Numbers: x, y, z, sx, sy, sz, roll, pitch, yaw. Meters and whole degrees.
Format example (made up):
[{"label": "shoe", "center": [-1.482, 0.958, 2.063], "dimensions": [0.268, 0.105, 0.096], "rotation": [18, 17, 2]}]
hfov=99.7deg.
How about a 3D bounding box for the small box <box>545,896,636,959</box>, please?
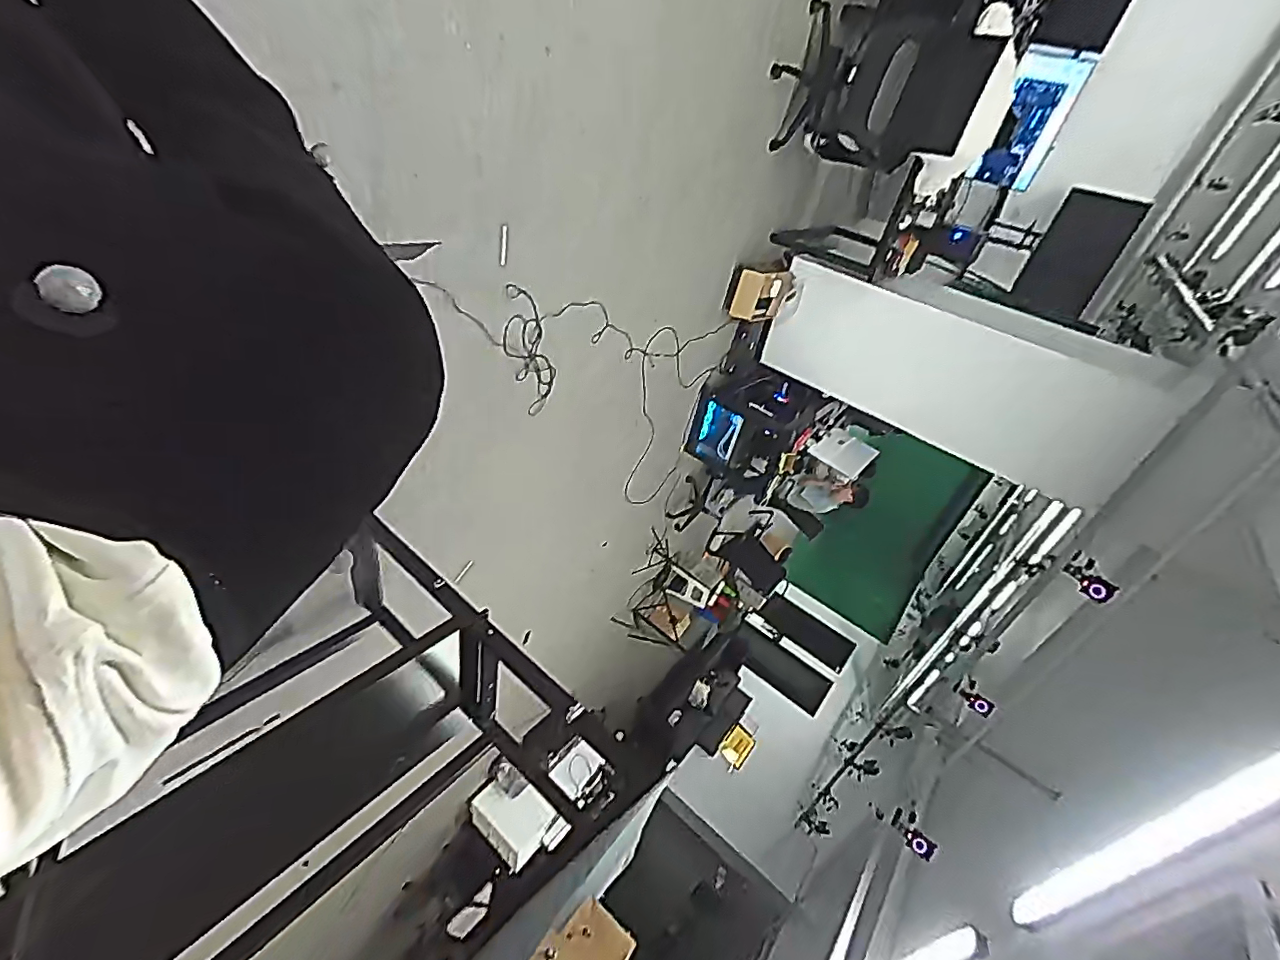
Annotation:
[{"label": "small box", "center": [-0.136, 1.245, 1.415], "dimensions": [0.168, 0.176, 0.179], "rotation": [-32, 144, -43]}]
